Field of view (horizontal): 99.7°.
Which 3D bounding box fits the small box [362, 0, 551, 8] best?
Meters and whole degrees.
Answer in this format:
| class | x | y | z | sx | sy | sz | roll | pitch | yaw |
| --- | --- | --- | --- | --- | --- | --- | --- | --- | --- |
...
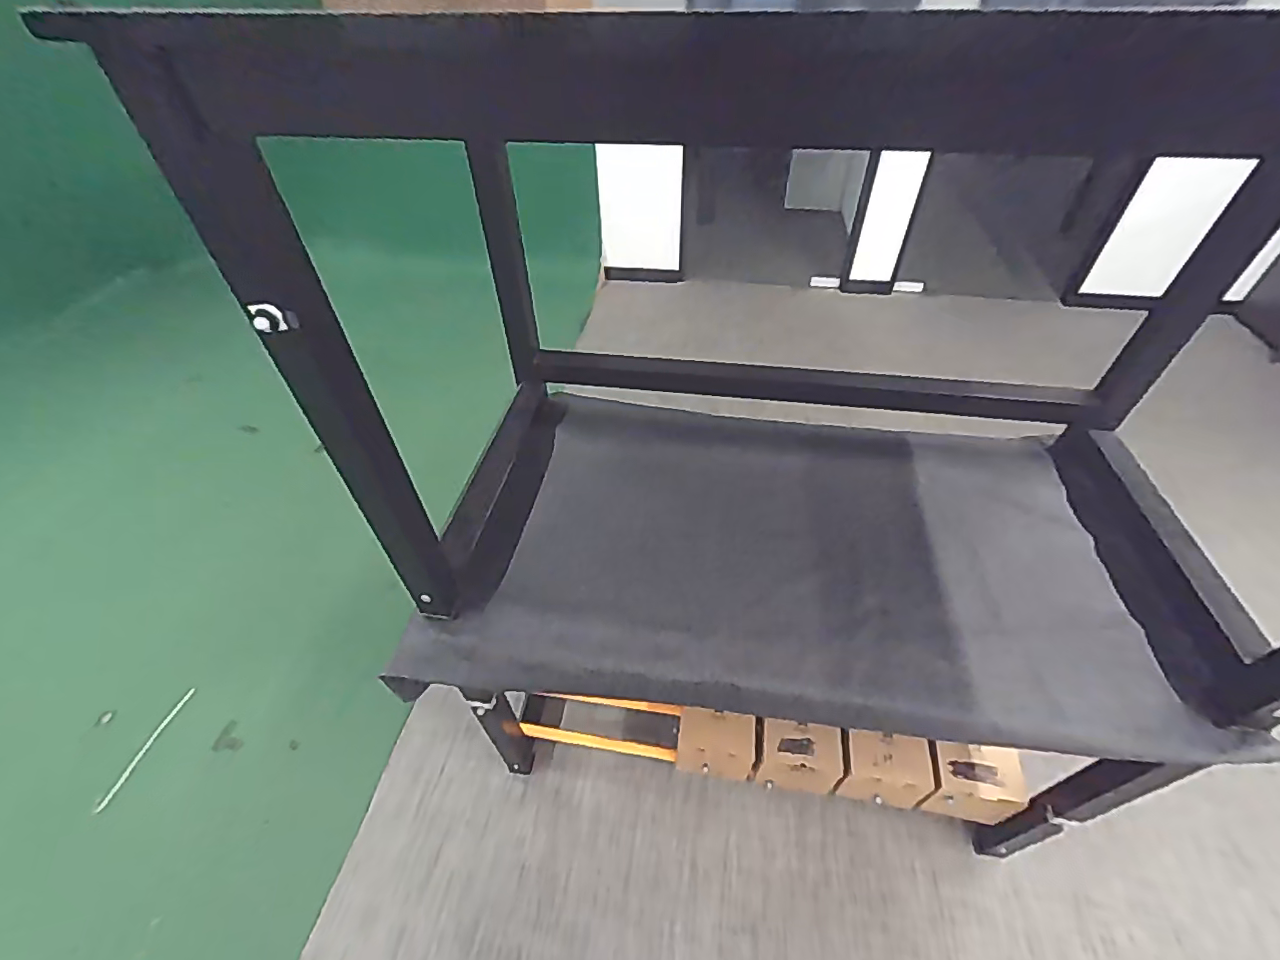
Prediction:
| class | x | y | z | sx | sy | sz | roll | pitch | yaw |
| --- | --- | --- | --- | --- | --- | --- | --- | --- | --- |
| small box | -0.131 | -0.455 | 0.384 | 0.168 | 0.176 | 0.179 | 2 | 45 | 5 |
